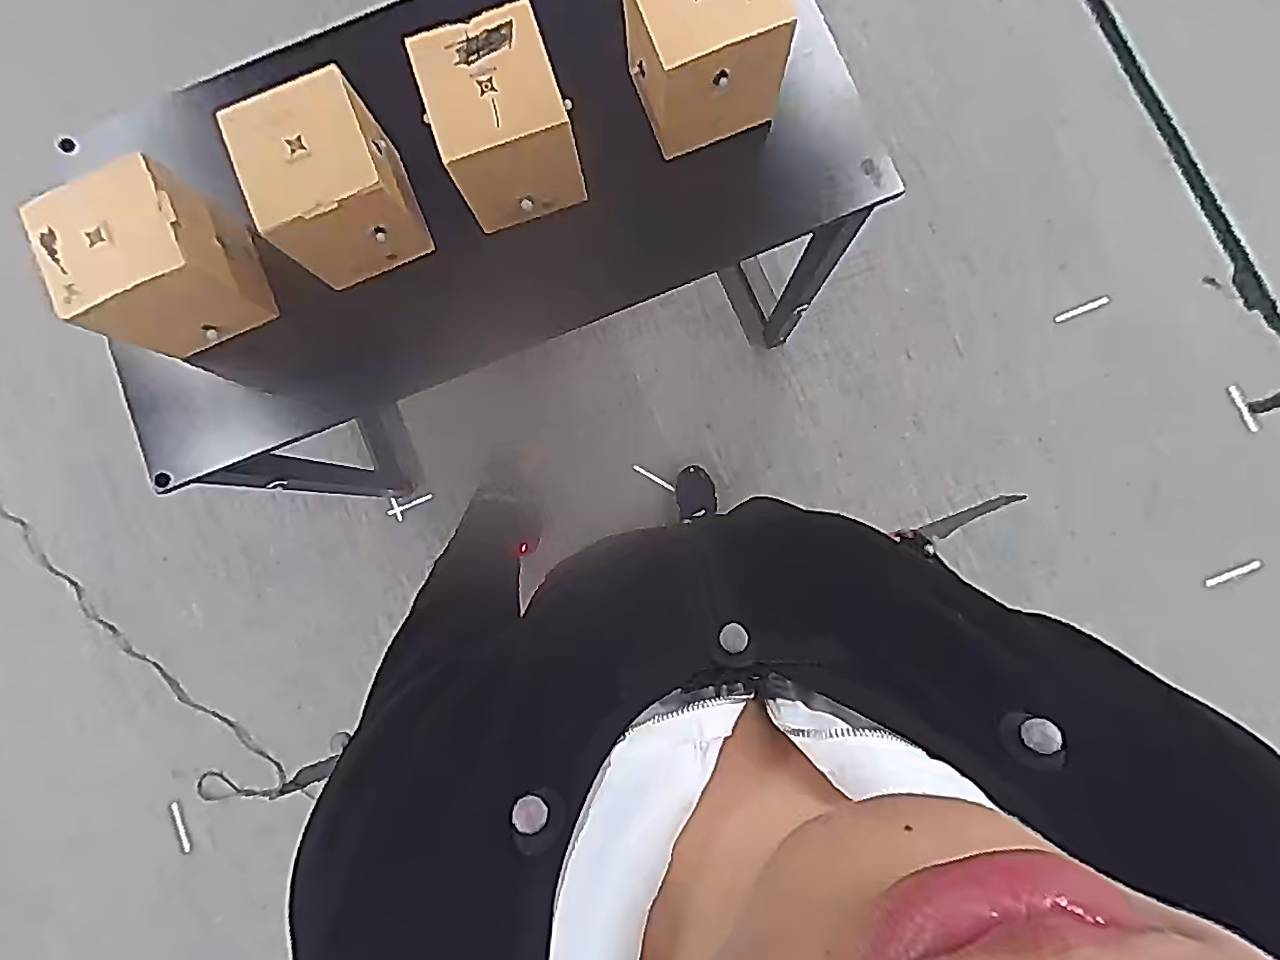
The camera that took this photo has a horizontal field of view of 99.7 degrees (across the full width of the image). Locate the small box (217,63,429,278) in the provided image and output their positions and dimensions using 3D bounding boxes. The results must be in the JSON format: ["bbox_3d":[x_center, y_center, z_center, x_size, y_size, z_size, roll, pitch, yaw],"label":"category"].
[{"bbox_3d":[-0.422,-0.407,0.749,0.168,0.176,0.179,-23,84,-1],"label":"small box"}]

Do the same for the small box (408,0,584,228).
[{"bbox_3d":[-0.186,-0.489,0.745,0.168,0.176,0.179,-18,86,1],"label":"small box"}]

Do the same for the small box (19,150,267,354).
[{"bbox_3d":[-0.661,-0.300,0.748,0.179,0.176,0.168,-24,85,-1],"label":"small box"}]

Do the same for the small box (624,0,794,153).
[{"bbox_3d":[0.086,-0.595,0.743,0.179,0.176,0.168,-20,85,1],"label":"small box"}]
